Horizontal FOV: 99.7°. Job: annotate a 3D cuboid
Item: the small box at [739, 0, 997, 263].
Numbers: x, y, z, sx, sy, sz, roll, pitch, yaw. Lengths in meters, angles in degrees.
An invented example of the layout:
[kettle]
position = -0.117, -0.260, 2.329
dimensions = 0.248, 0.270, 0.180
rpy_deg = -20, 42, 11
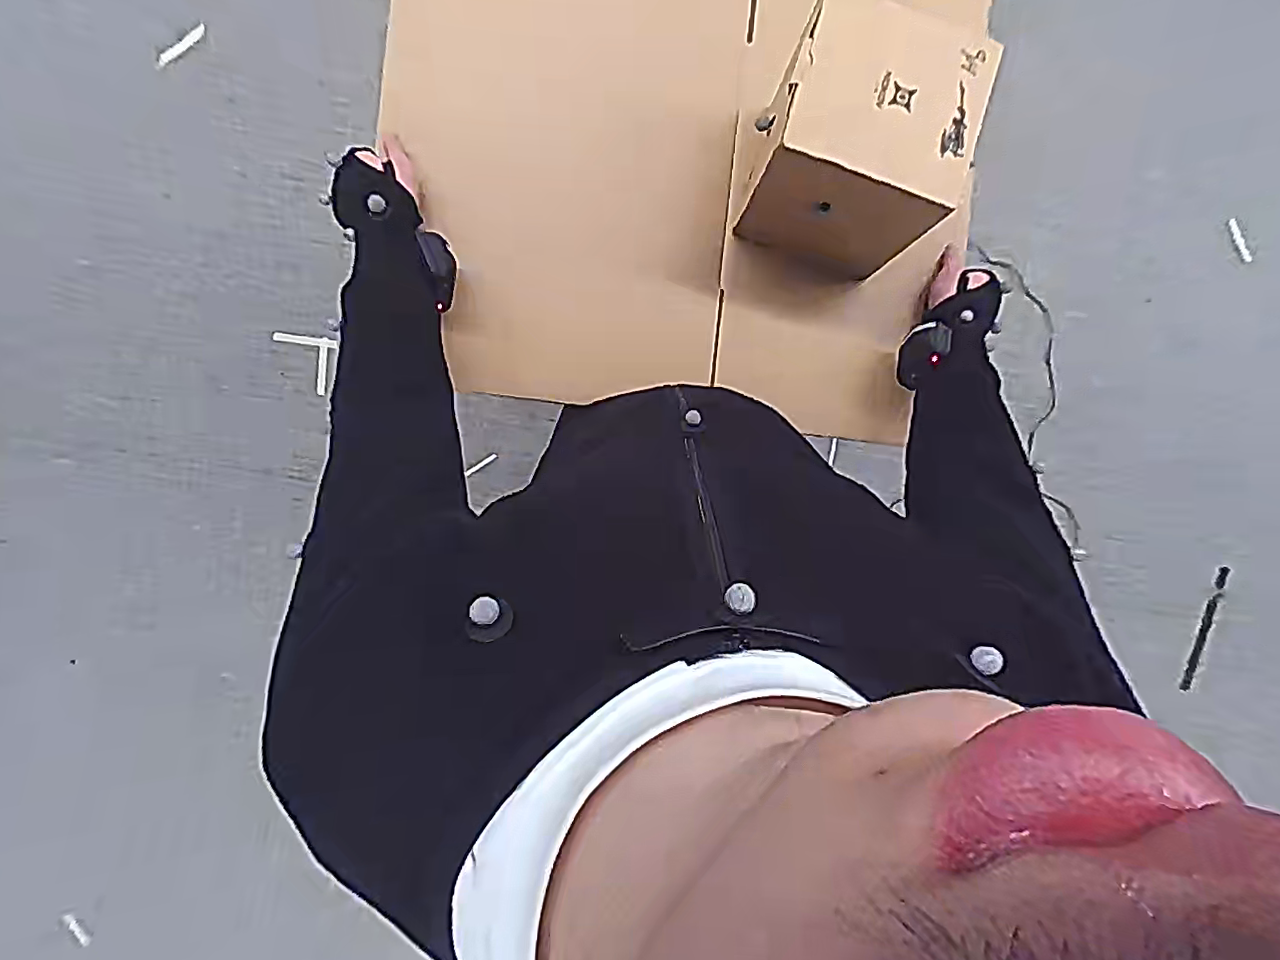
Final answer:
[small box]
position = 0.221, -0.357, 0.573
dimensions = 0.179, 0.176, 0.168
rpy_deg = 17, 88, -3
